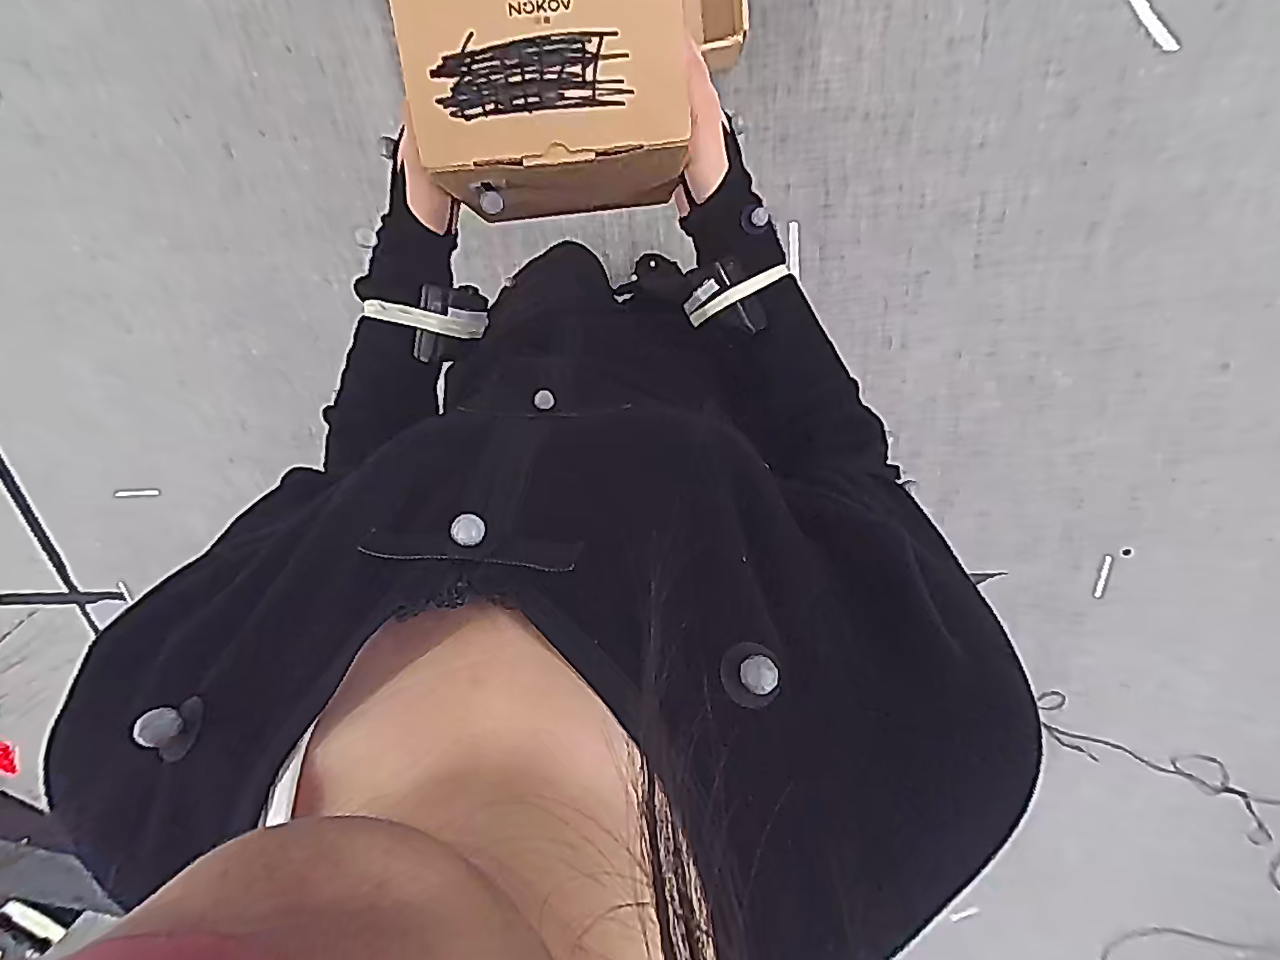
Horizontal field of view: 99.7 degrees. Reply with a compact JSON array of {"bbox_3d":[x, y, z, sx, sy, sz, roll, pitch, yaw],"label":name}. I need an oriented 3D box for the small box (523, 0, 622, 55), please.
[{"bbox_3d":[-0.139,-0.956,1.025,0.168,0.176,0.179,-11,112,10],"label":"small box"}]
